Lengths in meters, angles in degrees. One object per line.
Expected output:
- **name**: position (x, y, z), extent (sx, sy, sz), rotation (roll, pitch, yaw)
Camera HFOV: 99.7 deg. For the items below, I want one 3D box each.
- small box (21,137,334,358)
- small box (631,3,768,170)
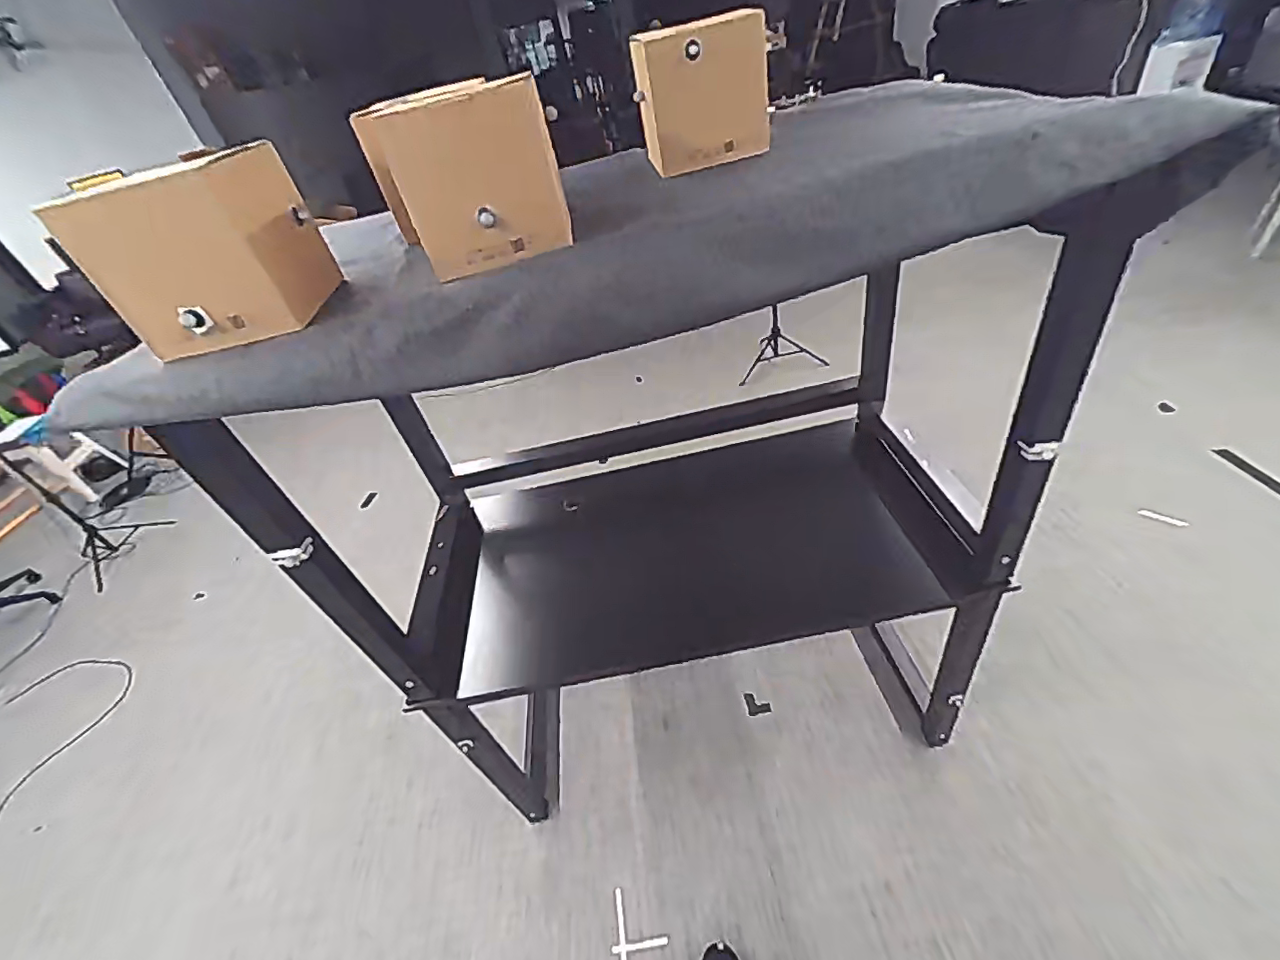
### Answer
- **small box**: position (-0.477, -0.259, 0.601), extent (0.168, 0.176, 0.179), rotation (-14, 39, 0)
- **small box**: position (0.088, -0.584, 0.813), extent (0.168, 0.176, 0.179), rotation (-13, 39, 2)
